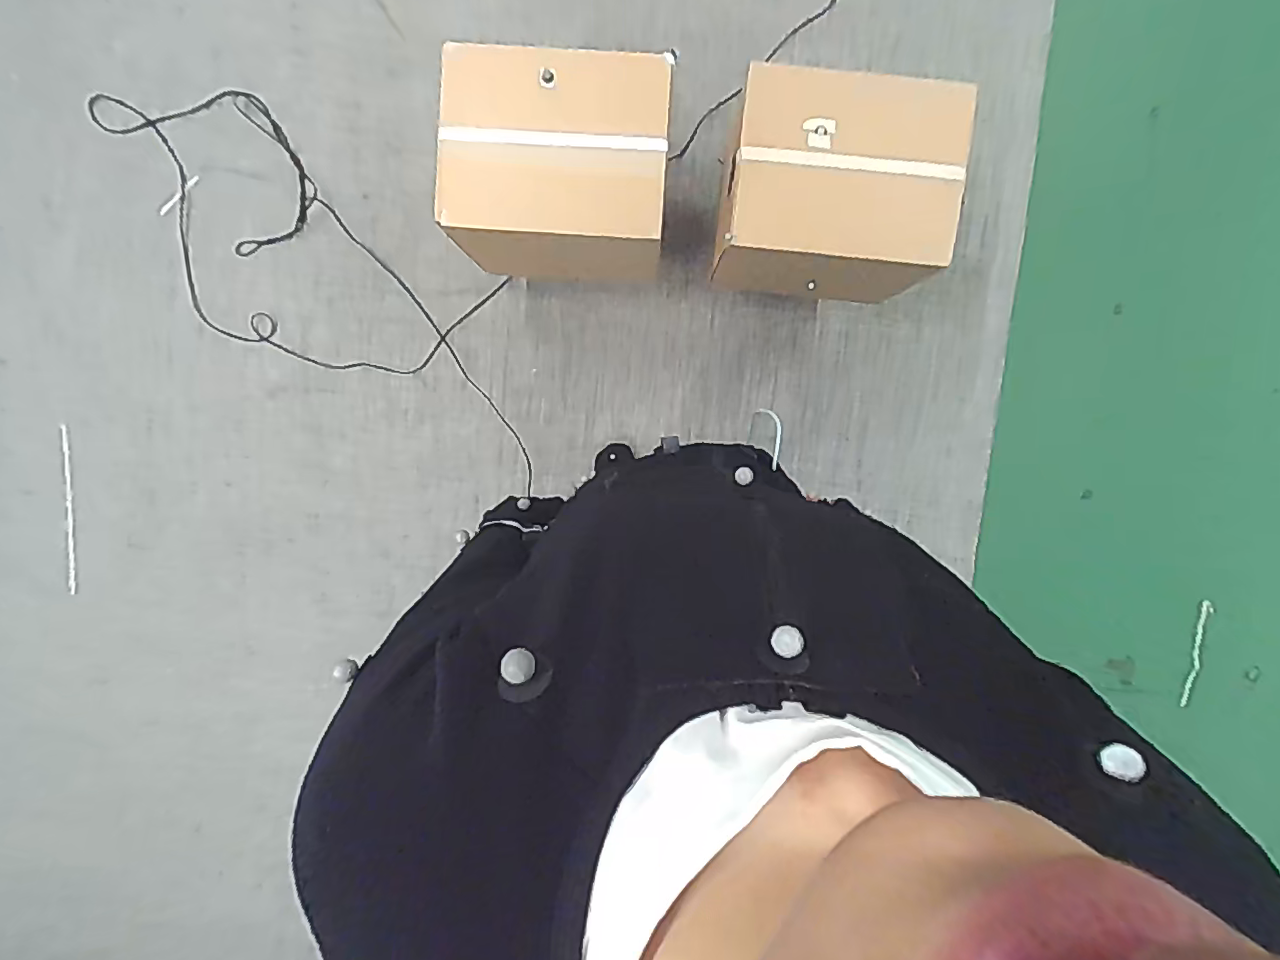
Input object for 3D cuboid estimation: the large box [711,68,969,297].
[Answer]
[{"bbox_3d":[0.378,-0.581,1.121,0.408,0.320,0.320,6,96,0],"label":"large box"}]
